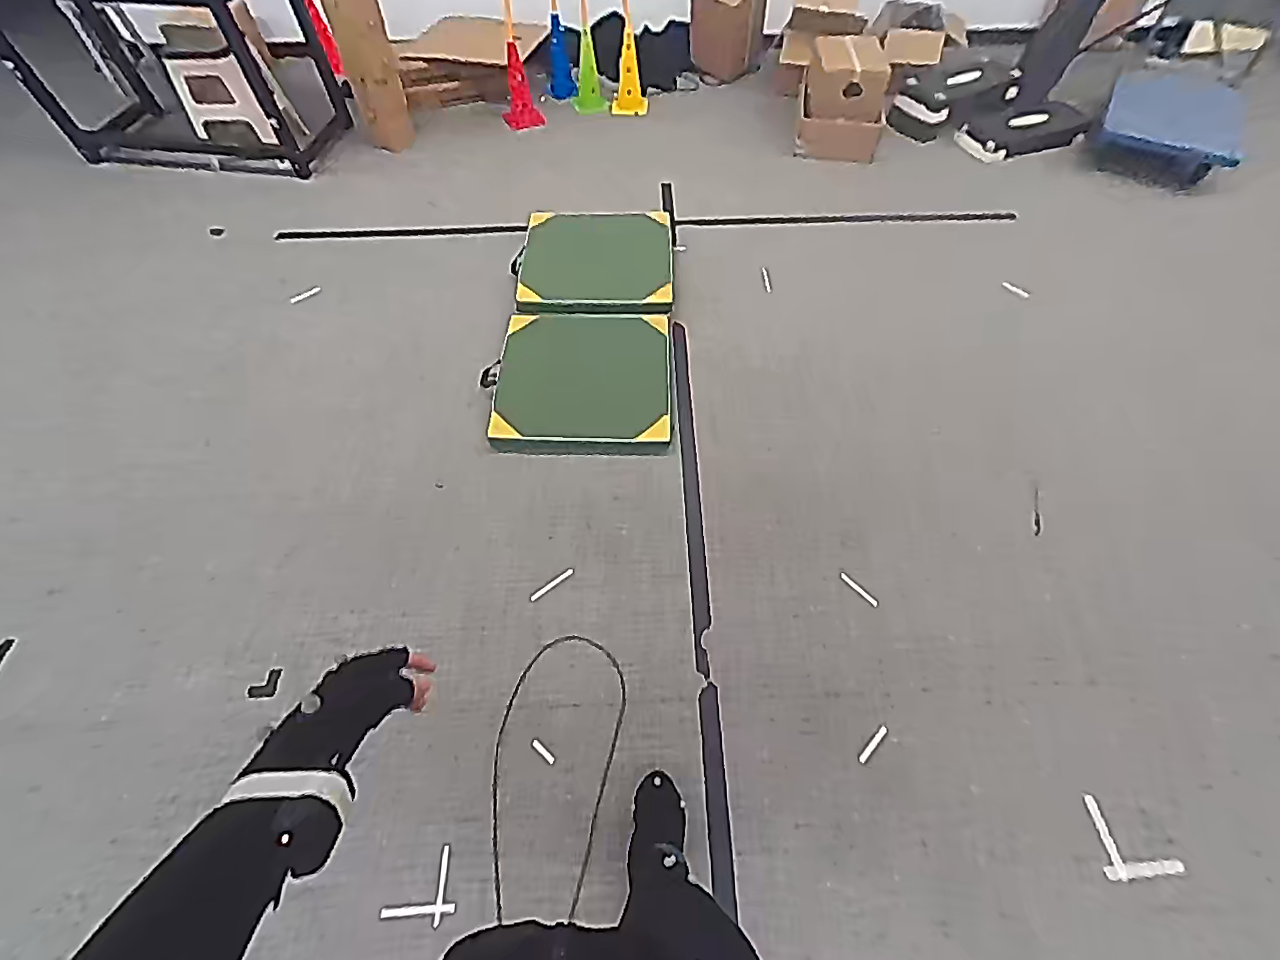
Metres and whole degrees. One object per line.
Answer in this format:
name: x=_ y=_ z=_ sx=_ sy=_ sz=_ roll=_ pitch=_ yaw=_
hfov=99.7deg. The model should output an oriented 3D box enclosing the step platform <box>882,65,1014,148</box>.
step platform: x=1.673 y=-2.035 z=2.933 sx=0.684 sy=0.204 sz=0.286 roll=-26 pitch=61 yaw=-16
